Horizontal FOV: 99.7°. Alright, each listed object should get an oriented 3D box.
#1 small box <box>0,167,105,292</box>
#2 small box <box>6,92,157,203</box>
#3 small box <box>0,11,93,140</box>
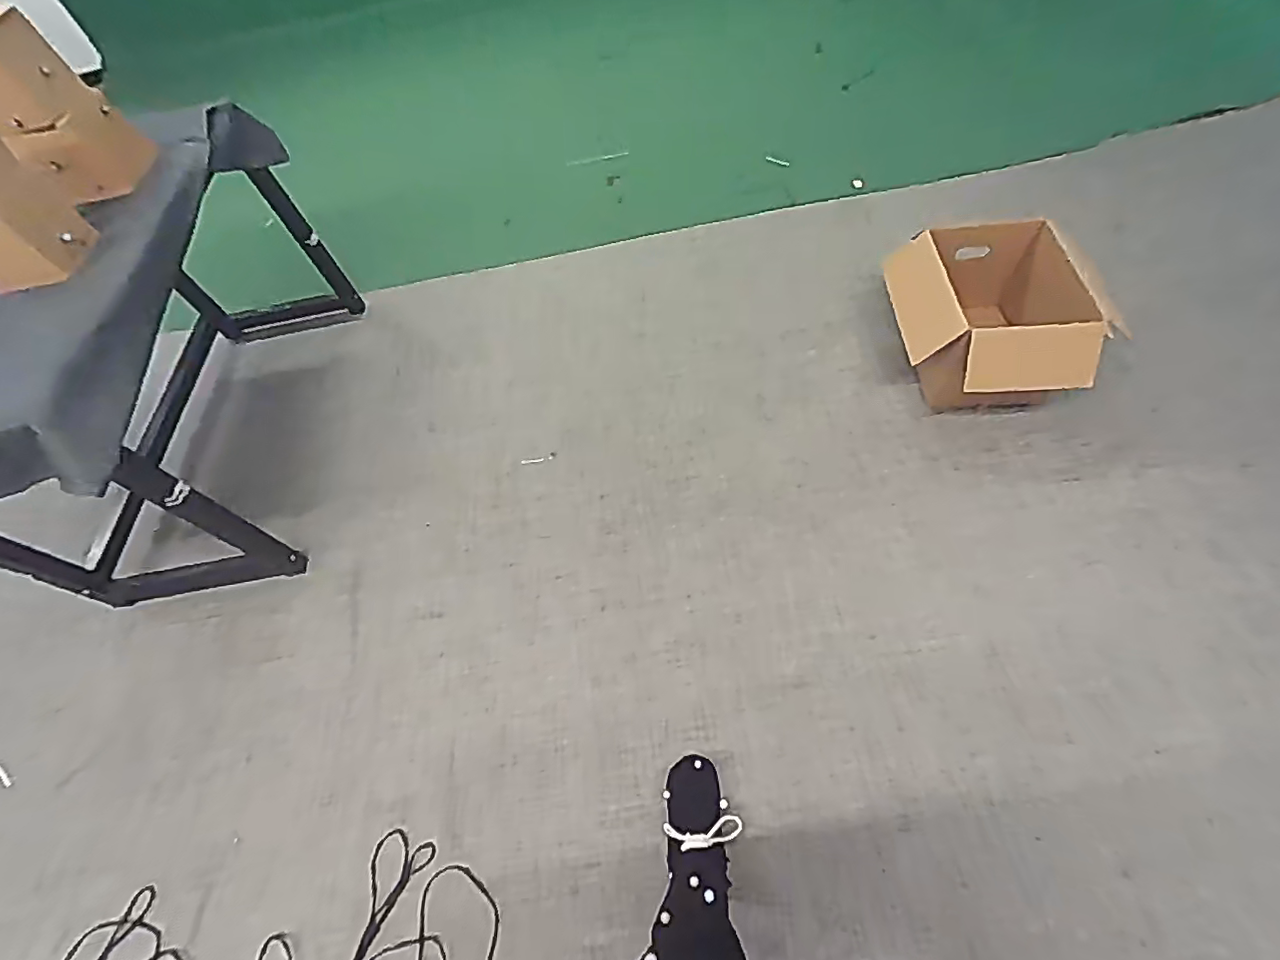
[{"bbox_3d":[-1.325,-0.526,1.150,0.179,0.176,0.168,-10,58,2],"label":"small box"},{"bbox_3d":[-1.356,-0.808,1.331,0.168,0.176,0.179,-9,57,4],"label":"small box"},{"bbox_3d":[-1.394,-0.890,1.188,0.168,0.176,0.179,-6,58,6],"label":"small box"}]
